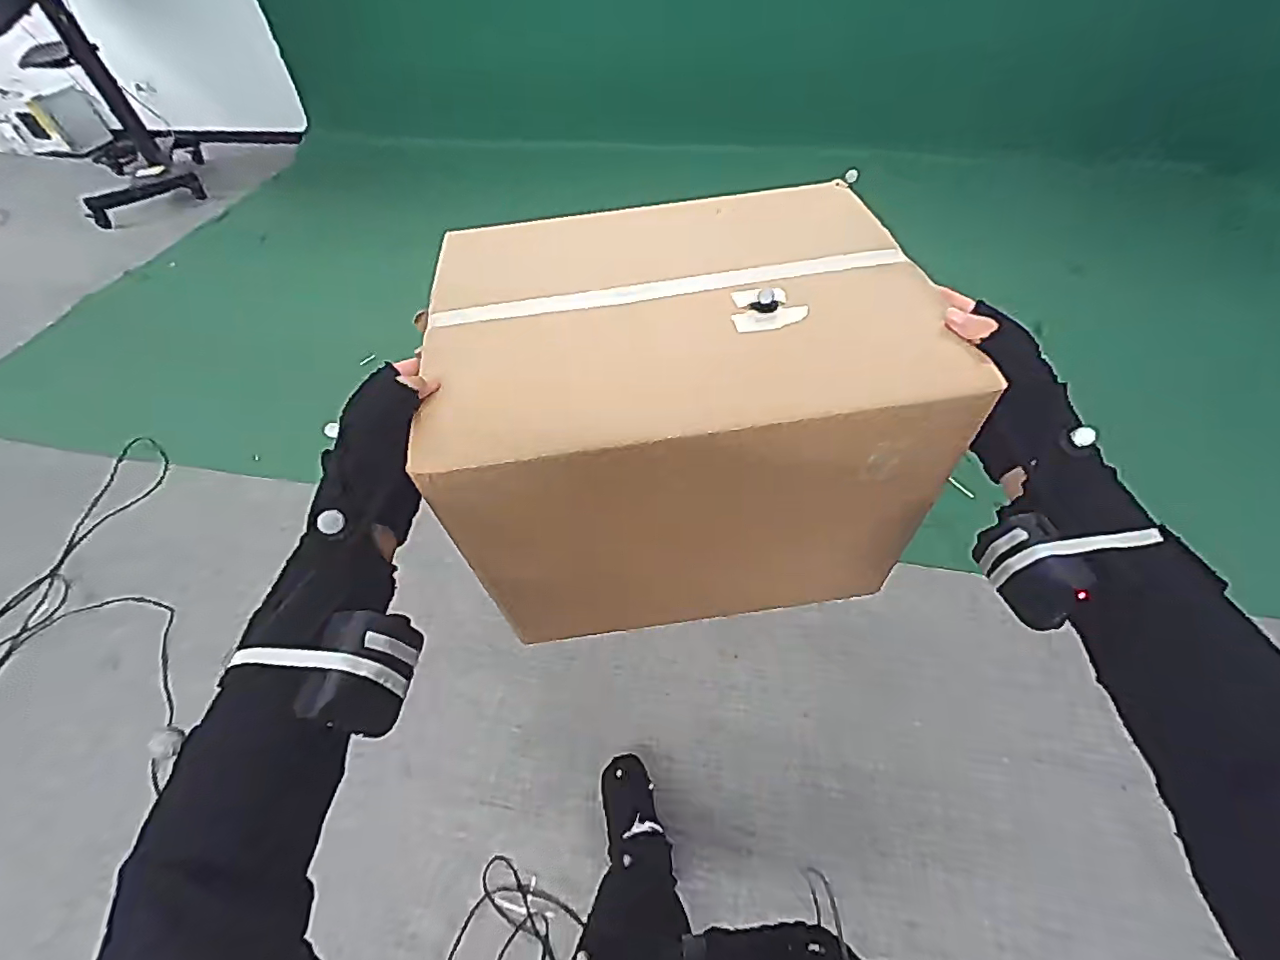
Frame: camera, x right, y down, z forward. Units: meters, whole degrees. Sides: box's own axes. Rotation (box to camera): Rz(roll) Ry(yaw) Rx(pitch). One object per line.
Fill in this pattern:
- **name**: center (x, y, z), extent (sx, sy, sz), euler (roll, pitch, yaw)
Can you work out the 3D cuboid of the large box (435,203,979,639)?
- **large box**: center (0.038, -0.057, 0.587), extent (0.408, 0.320, 0.320), euler (-8, 53, -2)
